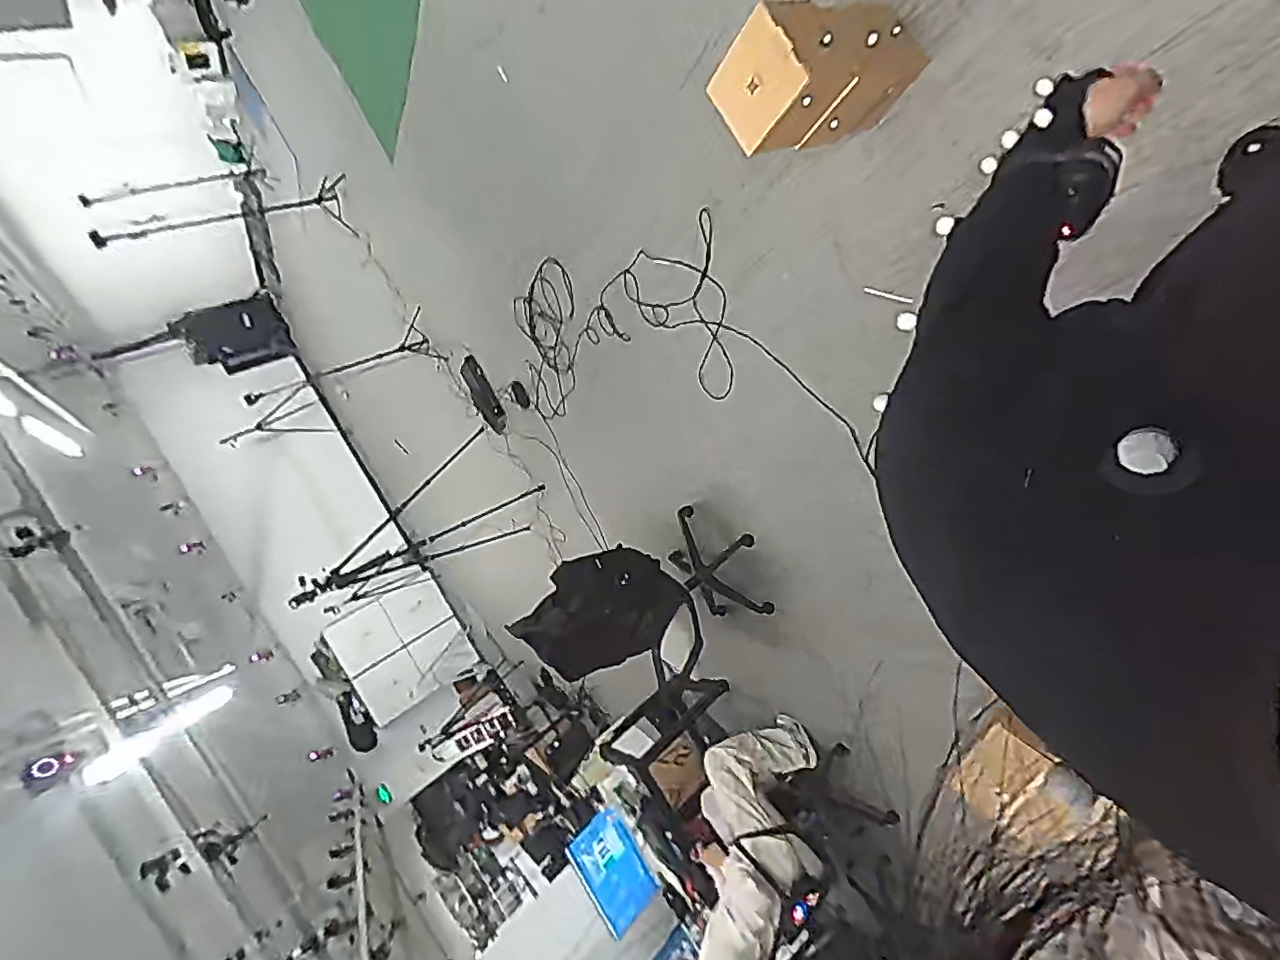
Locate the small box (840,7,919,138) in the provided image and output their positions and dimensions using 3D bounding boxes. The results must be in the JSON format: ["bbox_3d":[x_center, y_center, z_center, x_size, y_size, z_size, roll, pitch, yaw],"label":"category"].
[{"bbox_3d":[0.499,-0.923,1.228,0.168,0.176,0.179,57,149,4],"label":"small box"}]

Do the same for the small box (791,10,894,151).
[{"bbox_3d":[0.391,-0.837,1.140,0.168,0.176,0.179,58,148,0],"label":"small box"}]

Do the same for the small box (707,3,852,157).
[{"bbox_3d":[0.271,-0.771,1.051,0.168,0.176,0.179,58,148,1],"label":"small box"}]
